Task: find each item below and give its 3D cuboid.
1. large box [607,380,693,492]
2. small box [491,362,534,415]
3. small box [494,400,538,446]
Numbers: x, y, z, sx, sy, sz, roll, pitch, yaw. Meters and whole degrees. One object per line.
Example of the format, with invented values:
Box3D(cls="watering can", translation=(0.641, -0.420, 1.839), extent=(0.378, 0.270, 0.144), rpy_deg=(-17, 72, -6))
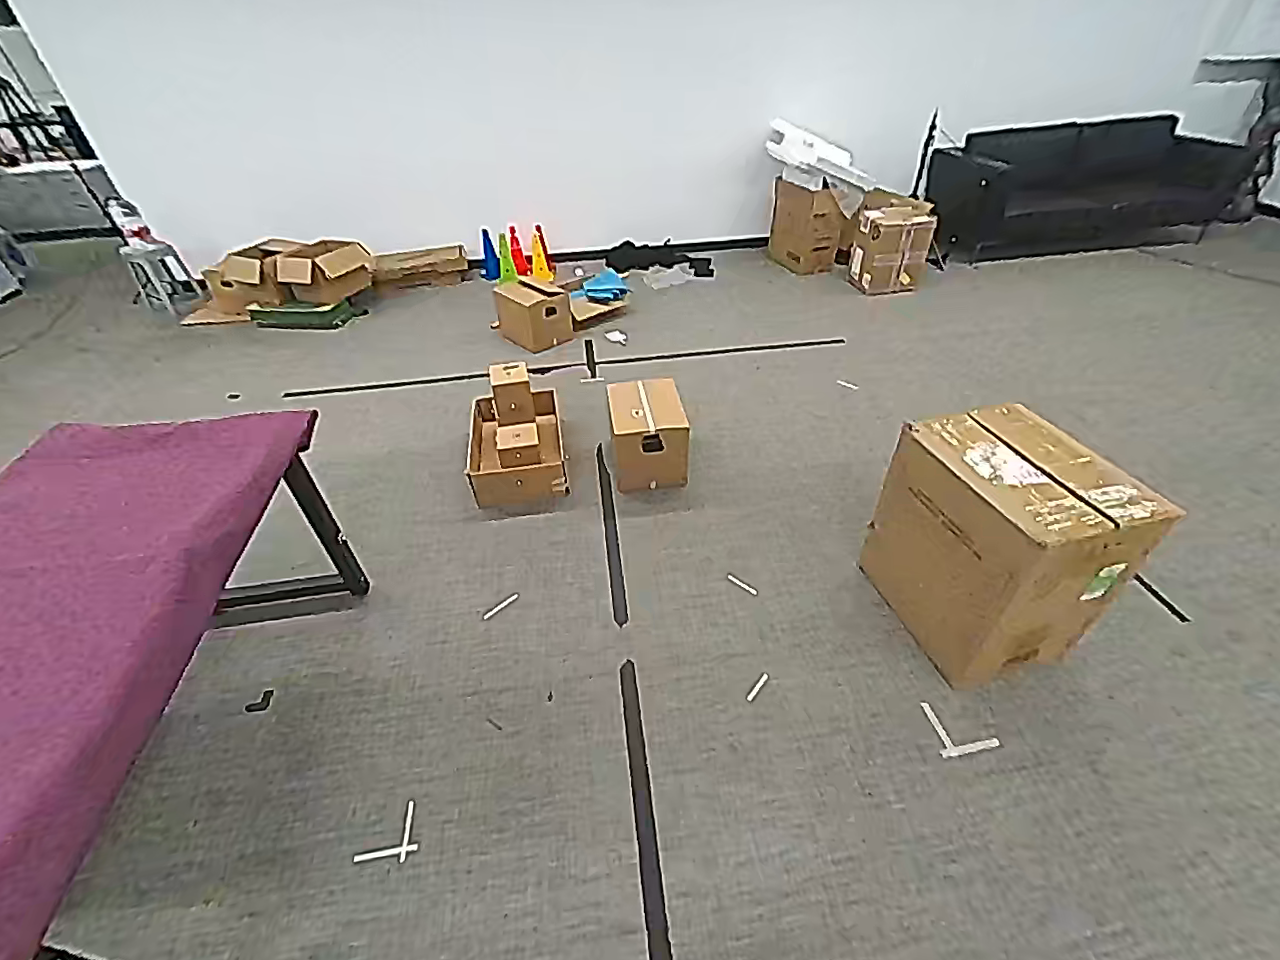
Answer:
Box3D(cls="large box", translation=(0.036, -0.204, 2.415), extent=(0.320, 0.320, 0.408), rpy_deg=(-7, 41, -5))
Box3D(cls="small box", translation=(-0.581, -0.418, 2.468), extent=(0.168, 0.176, 0.179), rpy_deg=(-10, 43, -10))
Box3D(cls="small box", translation=(-0.584, -0.285, 2.567), extent=(0.179, 0.176, 0.168), rpy_deg=(-13, 42, -14))
